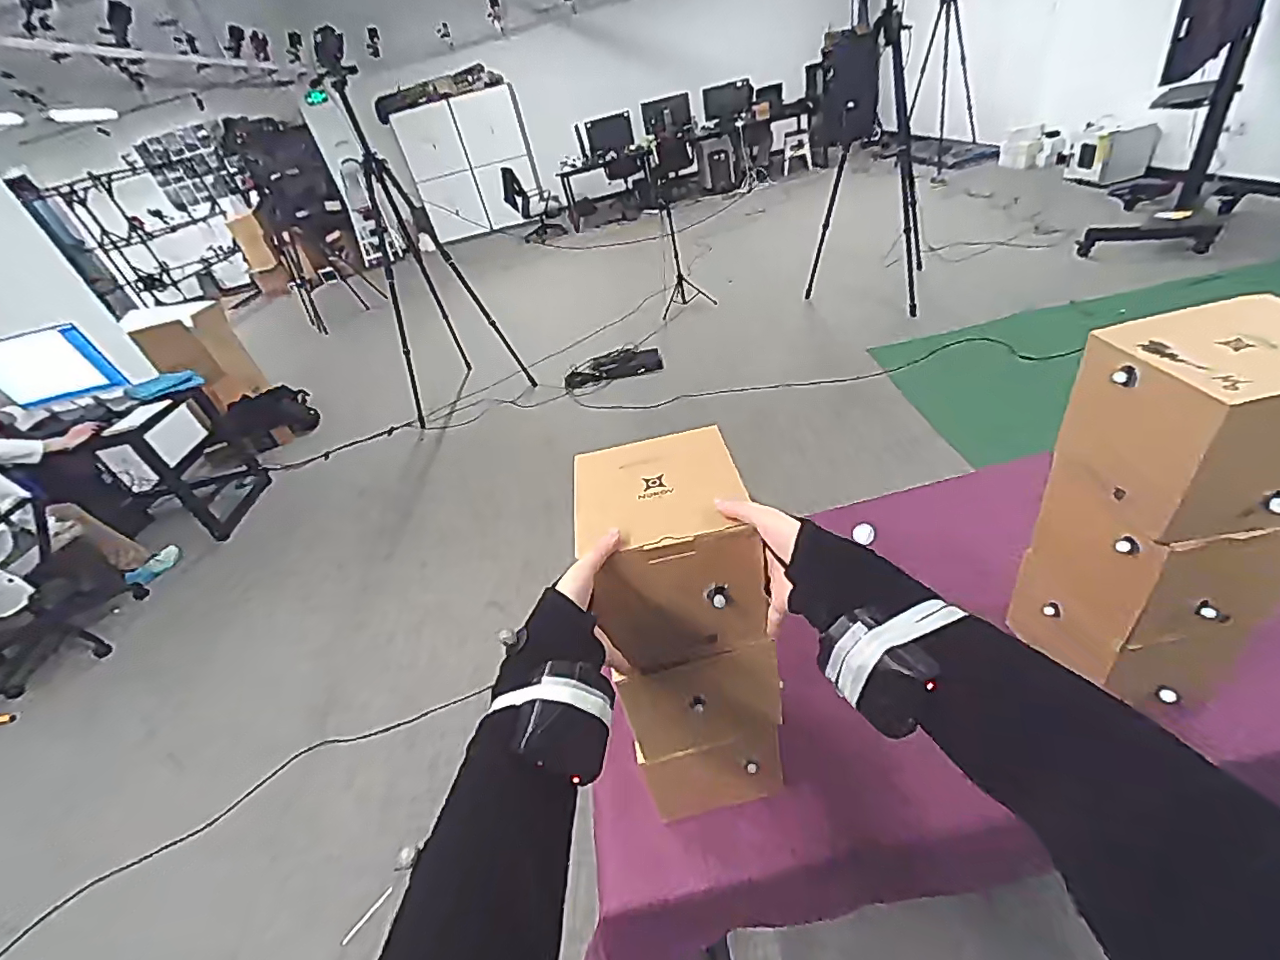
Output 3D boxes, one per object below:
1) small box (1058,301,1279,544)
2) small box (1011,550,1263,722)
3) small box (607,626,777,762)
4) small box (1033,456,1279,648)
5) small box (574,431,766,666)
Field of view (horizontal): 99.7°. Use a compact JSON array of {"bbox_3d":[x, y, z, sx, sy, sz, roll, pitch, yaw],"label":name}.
[{"bbox_3d":[0.581,-0.058,0.550,0.179,0.176,0.168,-11,36,5],"label":"small box"},{"bbox_3d":[0.651,0.198,0.743,0.168,0.176,0.179,-13,36,4],"label":"small box"},{"bbox_3d":[0.059,0.211,0.663,0.179,0.176,0.168,-16,35,0],"label":"small box"},{"bbox_3d":[0.618,0.069,0.648,0.168,0.176,0.179,-13,37,3],"label":"small box"},{"bbox_3d":[0.031,0.076,0.576,0.168,0.176,0.179,-12,35,2],"label":"small box"}]
